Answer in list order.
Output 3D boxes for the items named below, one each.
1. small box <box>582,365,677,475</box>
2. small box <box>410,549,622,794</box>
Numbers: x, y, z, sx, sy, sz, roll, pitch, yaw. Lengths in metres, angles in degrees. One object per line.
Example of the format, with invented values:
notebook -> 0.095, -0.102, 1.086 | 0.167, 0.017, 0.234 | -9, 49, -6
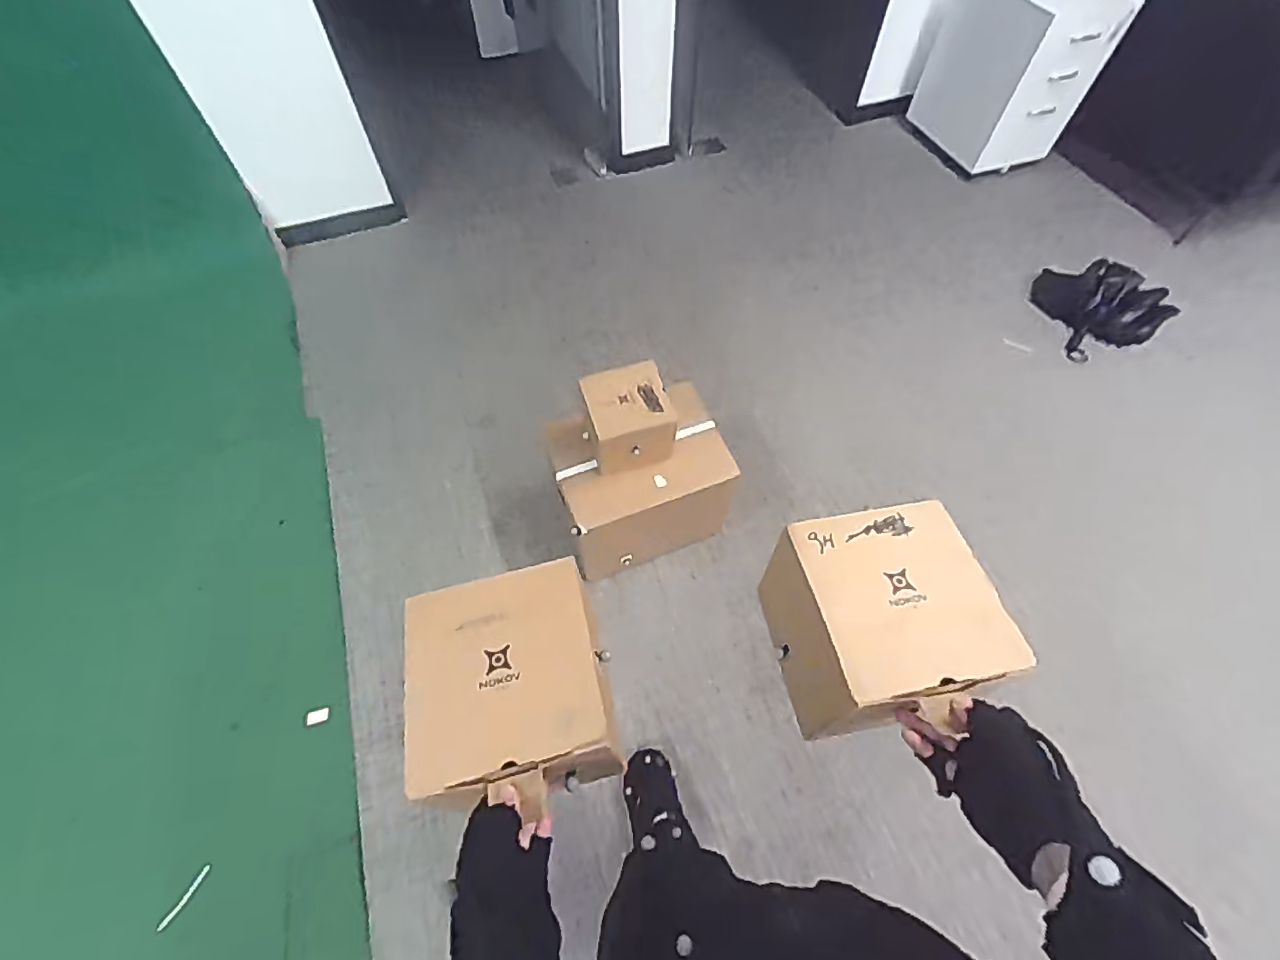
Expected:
small box -> -0.029, -0.131, 1.223 | 0.179, 0.176, 0.168 | -13, 64, -9
small box -> -0.118, 0.200, 0.547 | 0.168, 0.176, 0.179 | -13, 54, -6
